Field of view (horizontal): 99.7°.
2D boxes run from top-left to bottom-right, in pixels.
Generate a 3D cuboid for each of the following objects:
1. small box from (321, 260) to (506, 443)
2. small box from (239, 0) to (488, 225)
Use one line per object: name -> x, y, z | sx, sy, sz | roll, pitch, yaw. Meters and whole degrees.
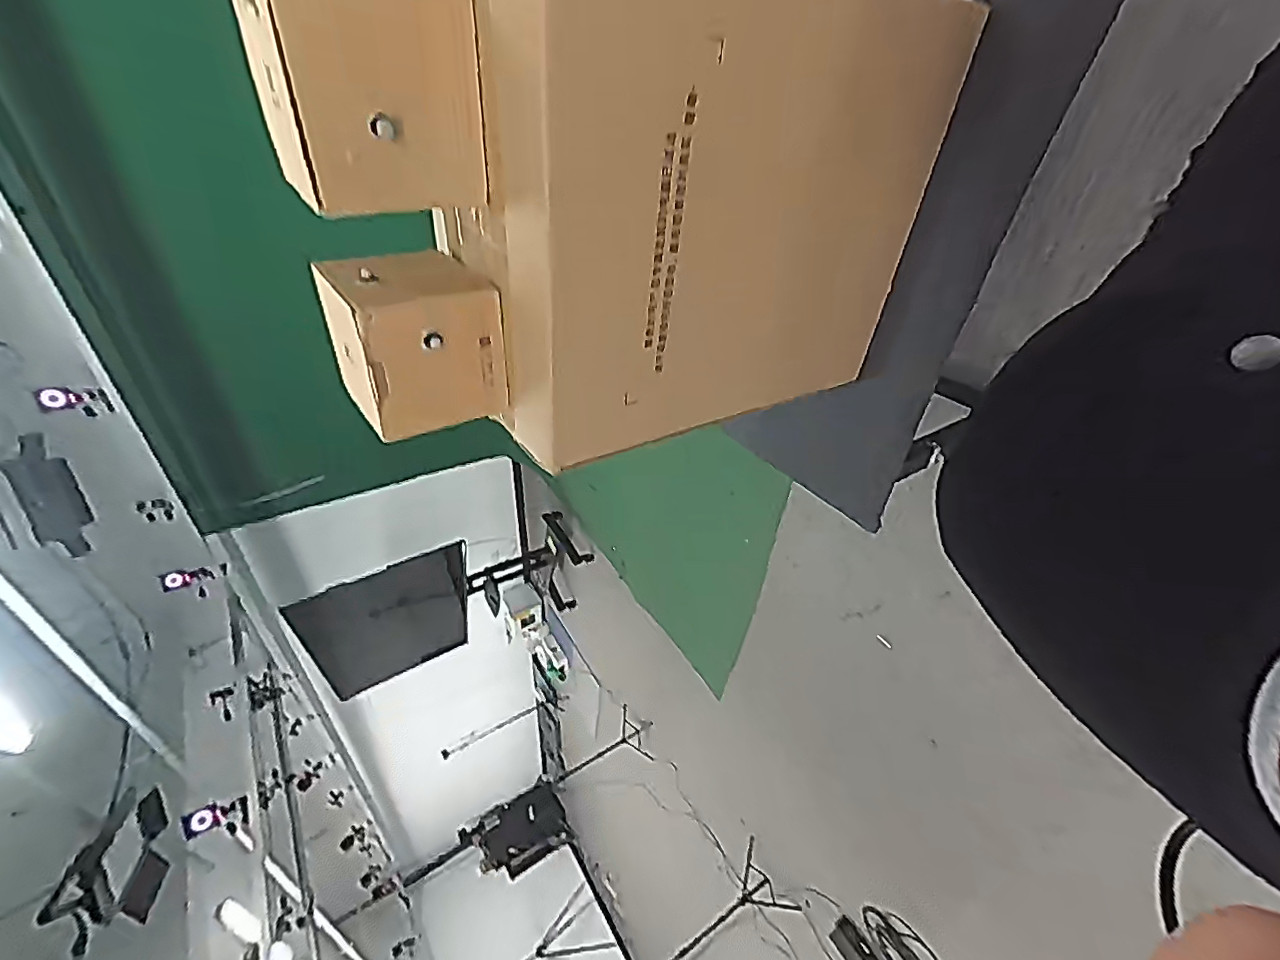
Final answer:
small box -> -0.283, -0.177, 0.702 | 0.179, 0.176, 0.168 | 42, 139, 38
small box -> -0.265, -0.378, 0.544 | 0.168, 0.176, 0.179 | 41, 141, 36
